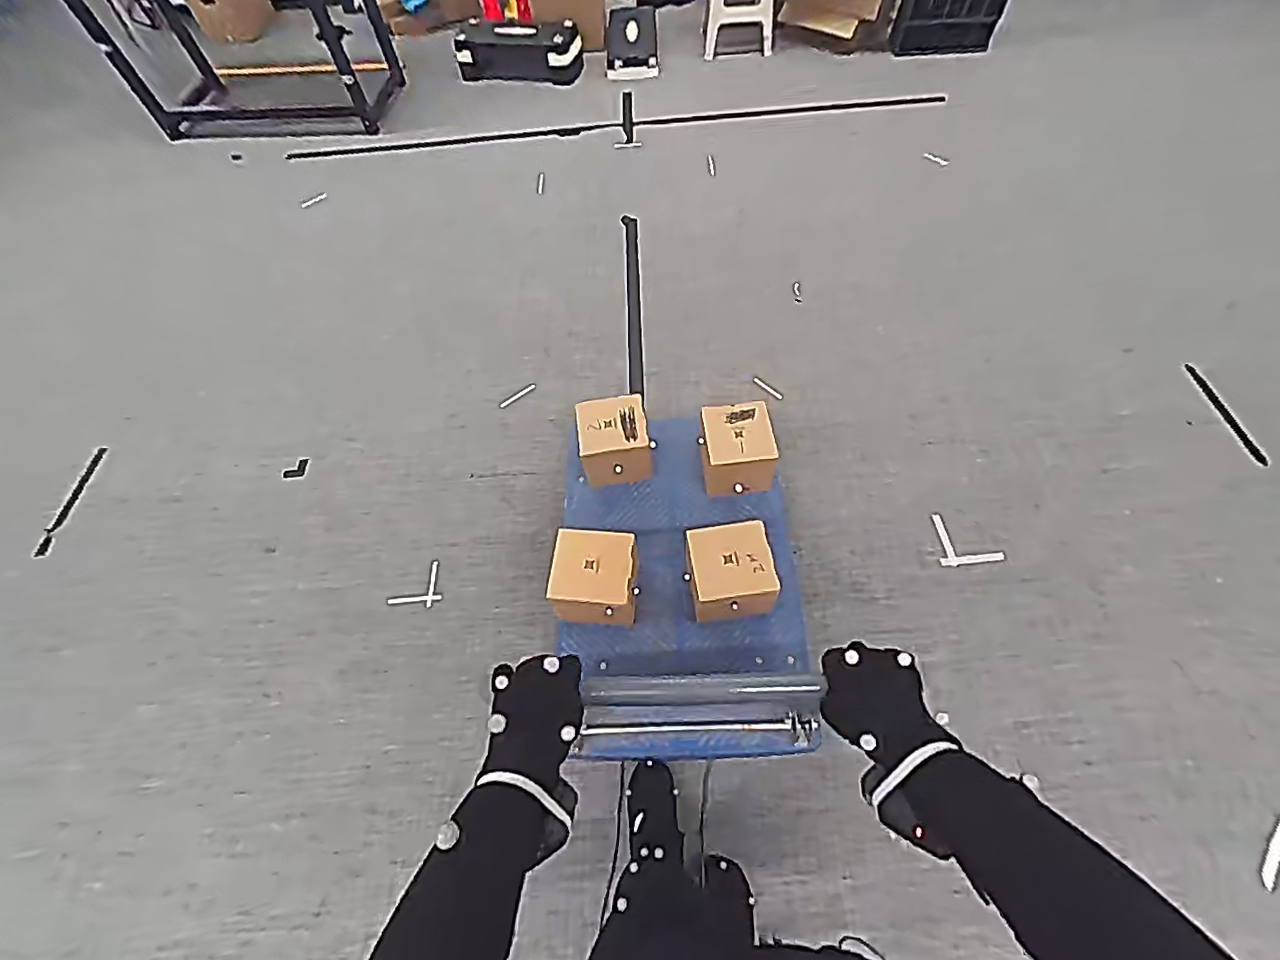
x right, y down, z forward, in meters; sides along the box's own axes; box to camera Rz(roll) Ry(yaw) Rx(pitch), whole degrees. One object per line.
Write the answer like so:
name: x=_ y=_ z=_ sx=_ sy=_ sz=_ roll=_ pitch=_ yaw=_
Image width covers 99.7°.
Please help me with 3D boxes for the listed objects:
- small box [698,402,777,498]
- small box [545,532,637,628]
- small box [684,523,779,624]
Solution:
small box: x=0.243 y=-0.074 z=1.392 sx=0.168 sy=0.176 sz=0.179 roll=-7 pitch=60 yaw=1
small box: x=-0.104 y=0.233 z=1.239 sx=0.179 sy=0.176 sz=0.168 roll=3 pitch=59 yaw=4
small box: x=0.200 y=0.216 z=1.225 sx=0.179 sy=0.176 sz=0.168 roll=-8 pitch=60 yaw=0
